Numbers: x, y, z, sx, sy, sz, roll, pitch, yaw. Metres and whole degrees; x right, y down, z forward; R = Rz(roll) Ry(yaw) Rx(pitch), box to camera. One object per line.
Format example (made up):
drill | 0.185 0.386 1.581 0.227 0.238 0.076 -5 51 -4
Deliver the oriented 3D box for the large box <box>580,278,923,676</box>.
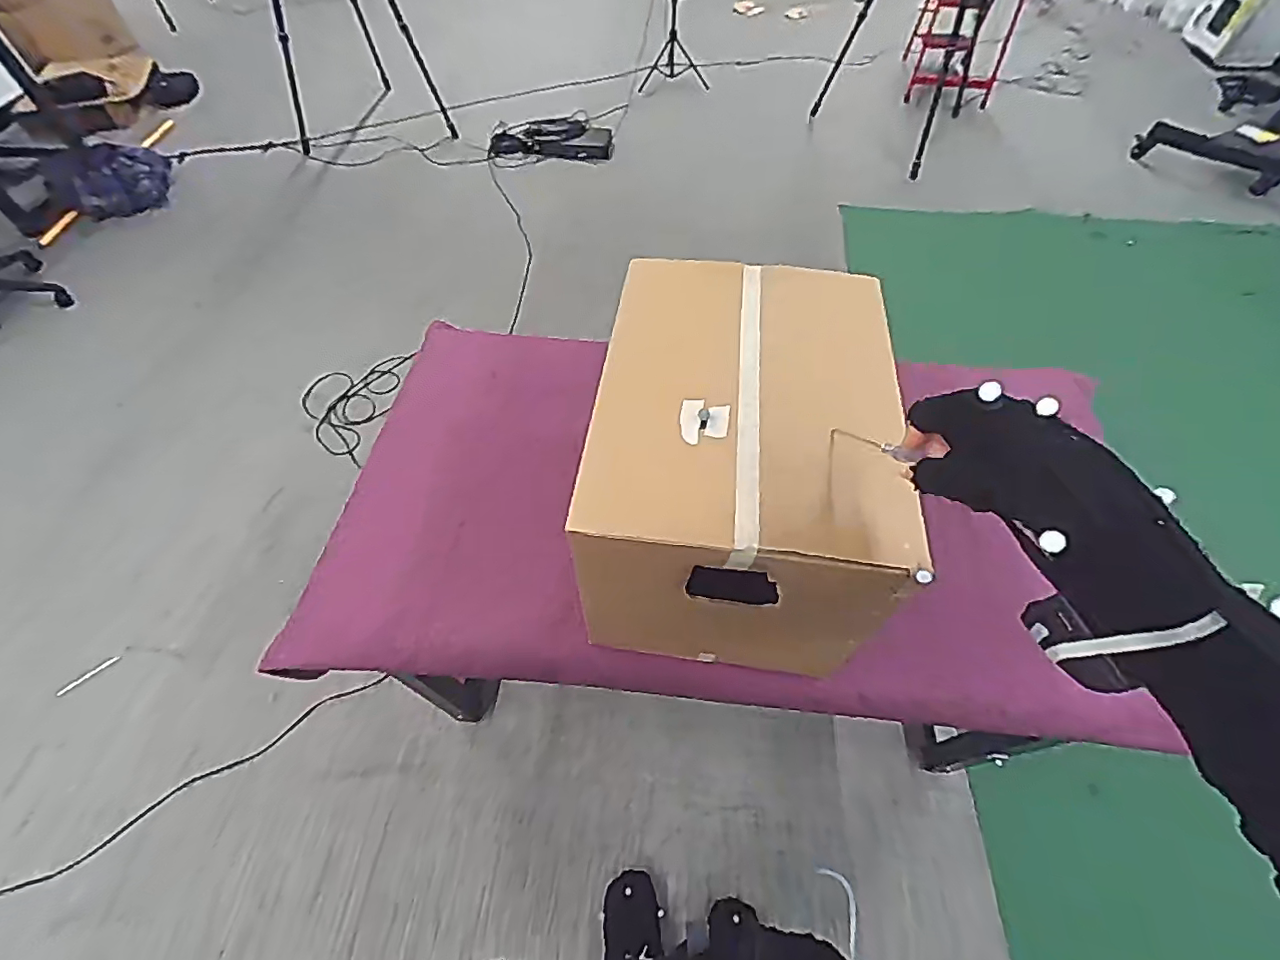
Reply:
large box | 0.117 -0.002 0.711 0.320 0.320 0.408 6 56 5
